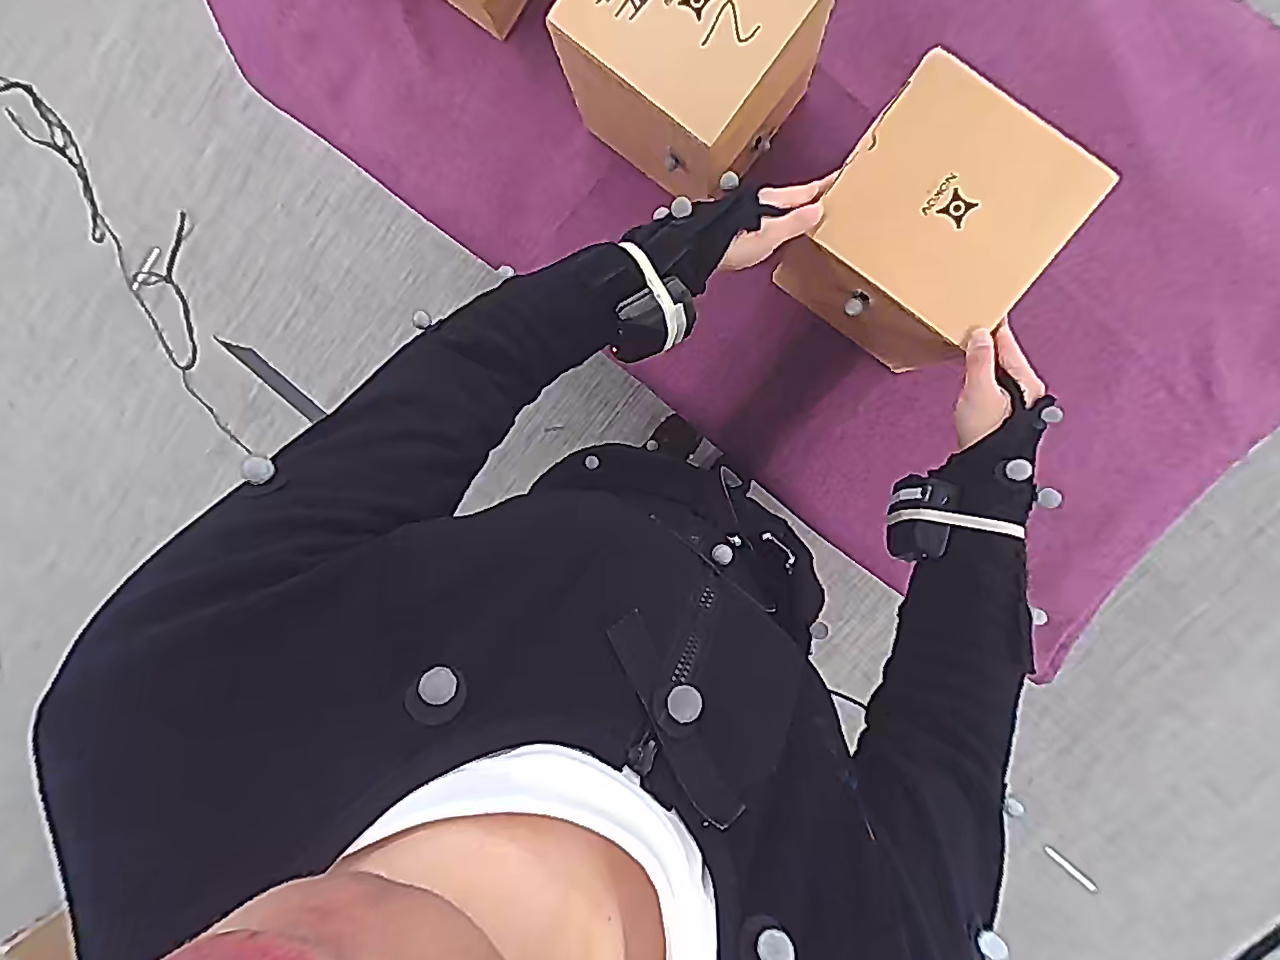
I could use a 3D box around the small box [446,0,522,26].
[{"bbox_3d":[-0.179,-0.594,0.514,0.179,0.176,0.168,37,98,0],"label":"small box"}]
